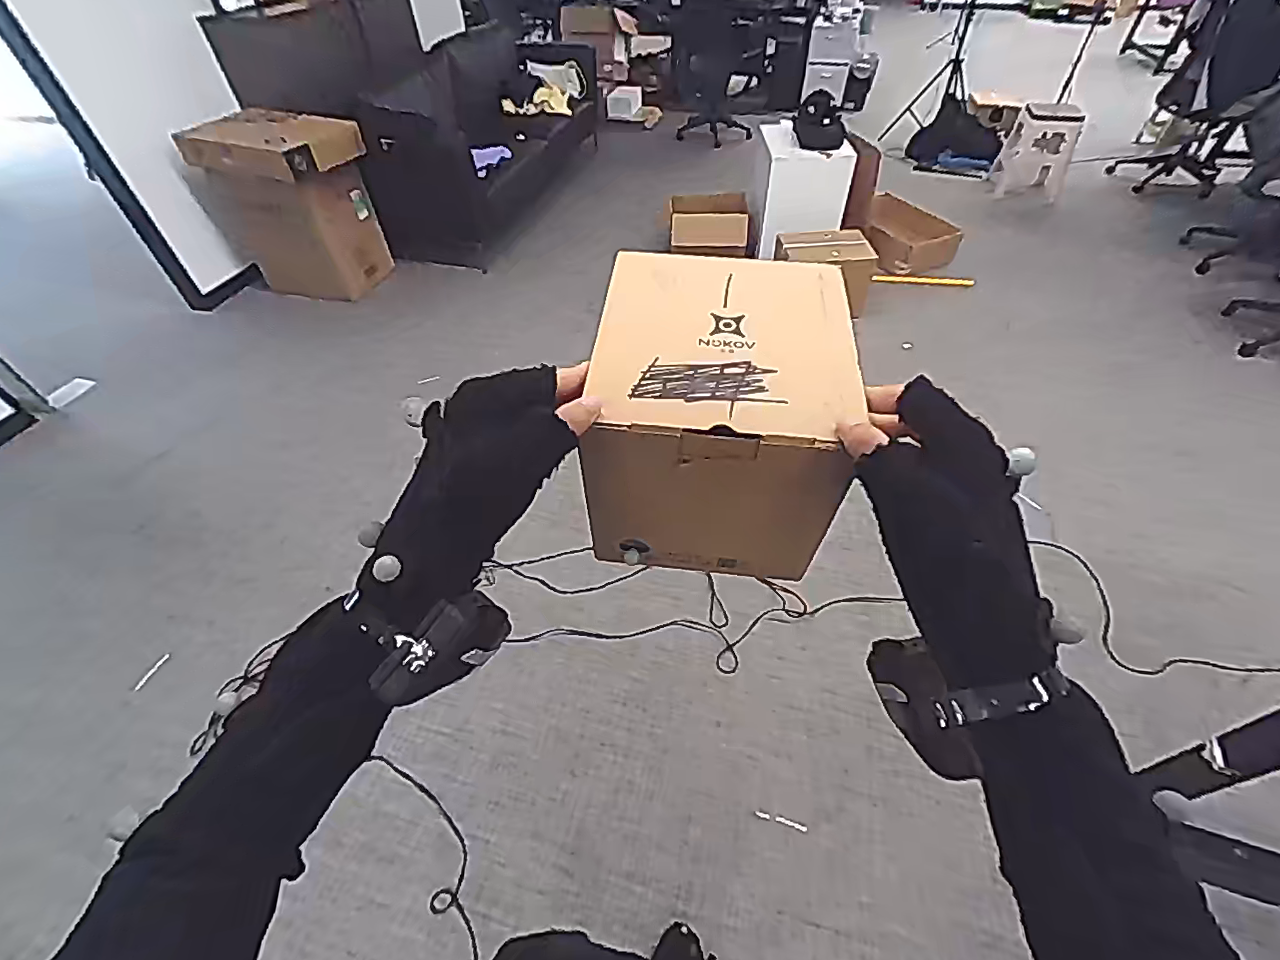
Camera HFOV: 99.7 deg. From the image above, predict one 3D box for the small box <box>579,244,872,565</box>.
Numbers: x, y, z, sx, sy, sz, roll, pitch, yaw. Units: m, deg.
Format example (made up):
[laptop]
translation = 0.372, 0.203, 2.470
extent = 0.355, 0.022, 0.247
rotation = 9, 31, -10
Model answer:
[small box]
translation = 0.057, -0.051, 0.410
extent = 0.168, 0.176, 0.179
rotation = 5, 54, 4
